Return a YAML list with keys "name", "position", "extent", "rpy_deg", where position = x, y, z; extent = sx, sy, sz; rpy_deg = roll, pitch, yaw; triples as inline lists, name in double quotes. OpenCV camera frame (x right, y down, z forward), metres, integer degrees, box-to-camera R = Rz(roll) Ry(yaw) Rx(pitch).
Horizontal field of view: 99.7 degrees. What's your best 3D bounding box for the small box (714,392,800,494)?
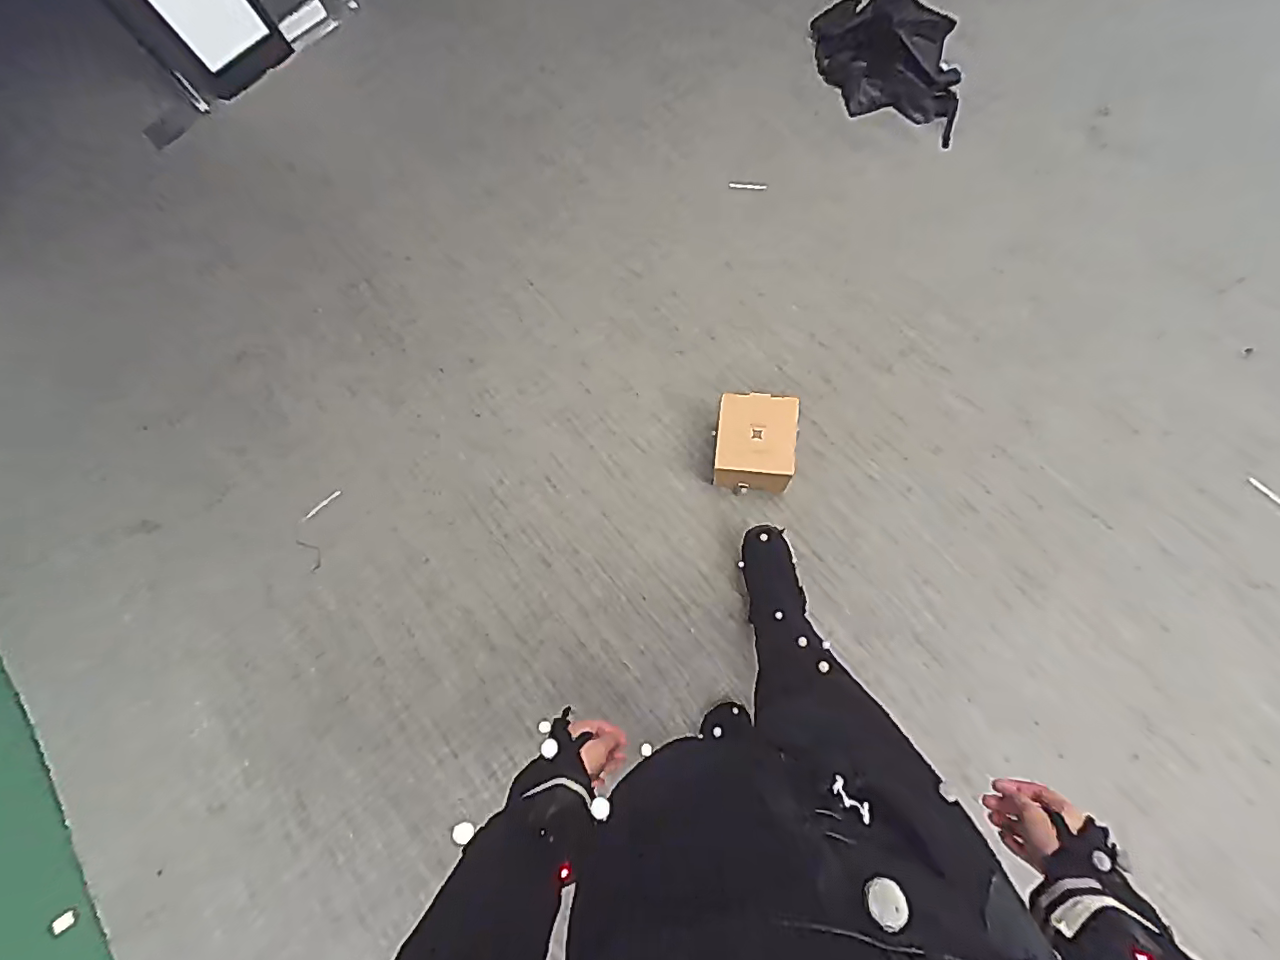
- name: "small box"
  position: [0.255, -0.078, 1.206]
  extent: [0.168, 0.176, 0.179]
  rpy_deg: [5, 76, 9]
